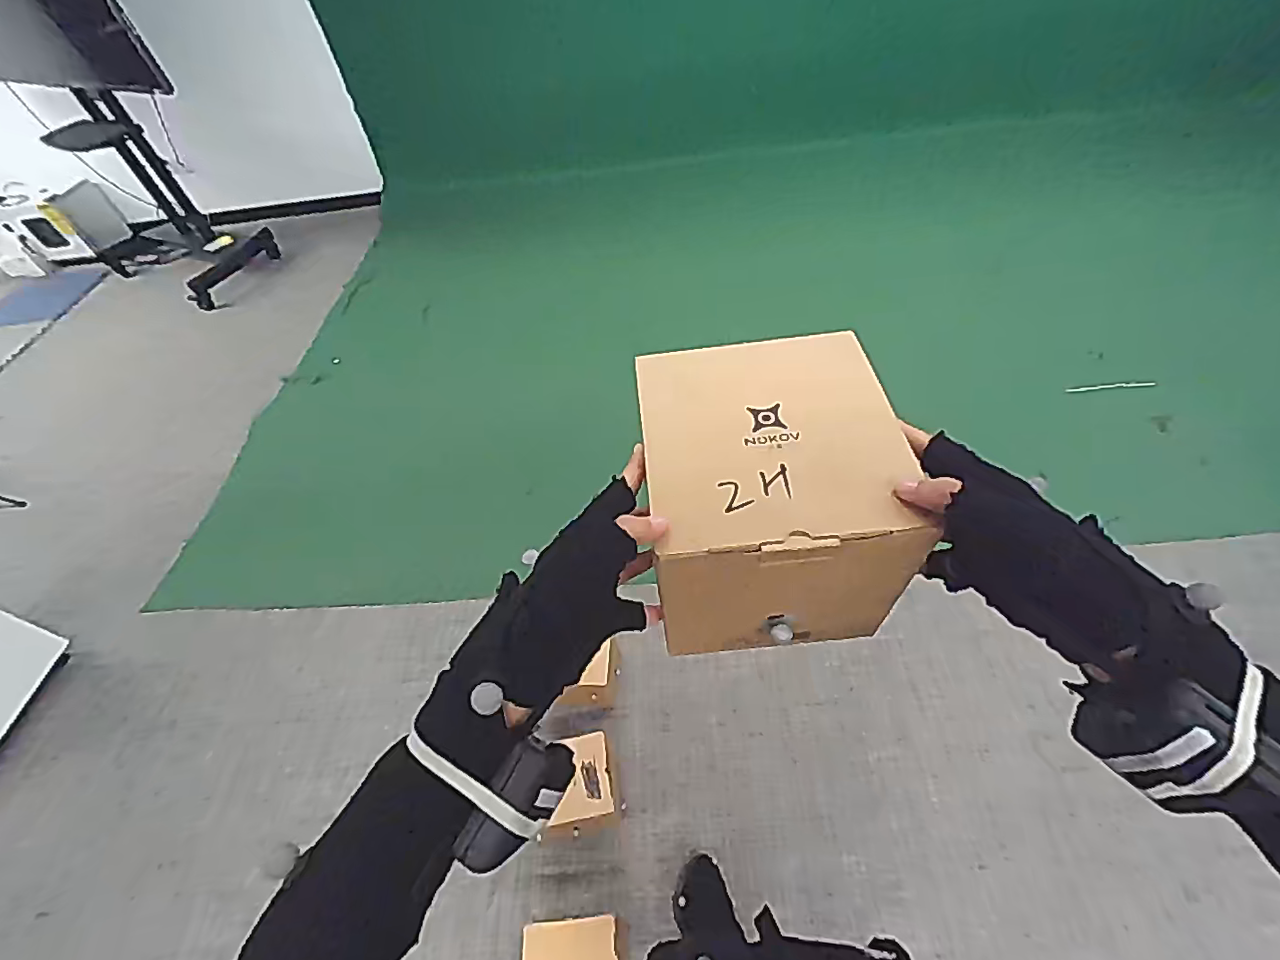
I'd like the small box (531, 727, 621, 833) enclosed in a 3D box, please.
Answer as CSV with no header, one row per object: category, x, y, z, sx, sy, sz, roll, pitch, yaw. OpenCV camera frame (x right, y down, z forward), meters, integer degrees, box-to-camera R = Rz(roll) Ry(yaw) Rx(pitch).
small box,-0.143,0.691,1.241,0.179,0.176,0.168,-12,49,-2

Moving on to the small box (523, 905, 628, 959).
small box,-0.118,0.932,1.036,0.179,0.176,0.168,-8,50,0

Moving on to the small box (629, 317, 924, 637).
small box,0.082,0.002,0.419,0.168,0.176,0.179,-6,53,3
